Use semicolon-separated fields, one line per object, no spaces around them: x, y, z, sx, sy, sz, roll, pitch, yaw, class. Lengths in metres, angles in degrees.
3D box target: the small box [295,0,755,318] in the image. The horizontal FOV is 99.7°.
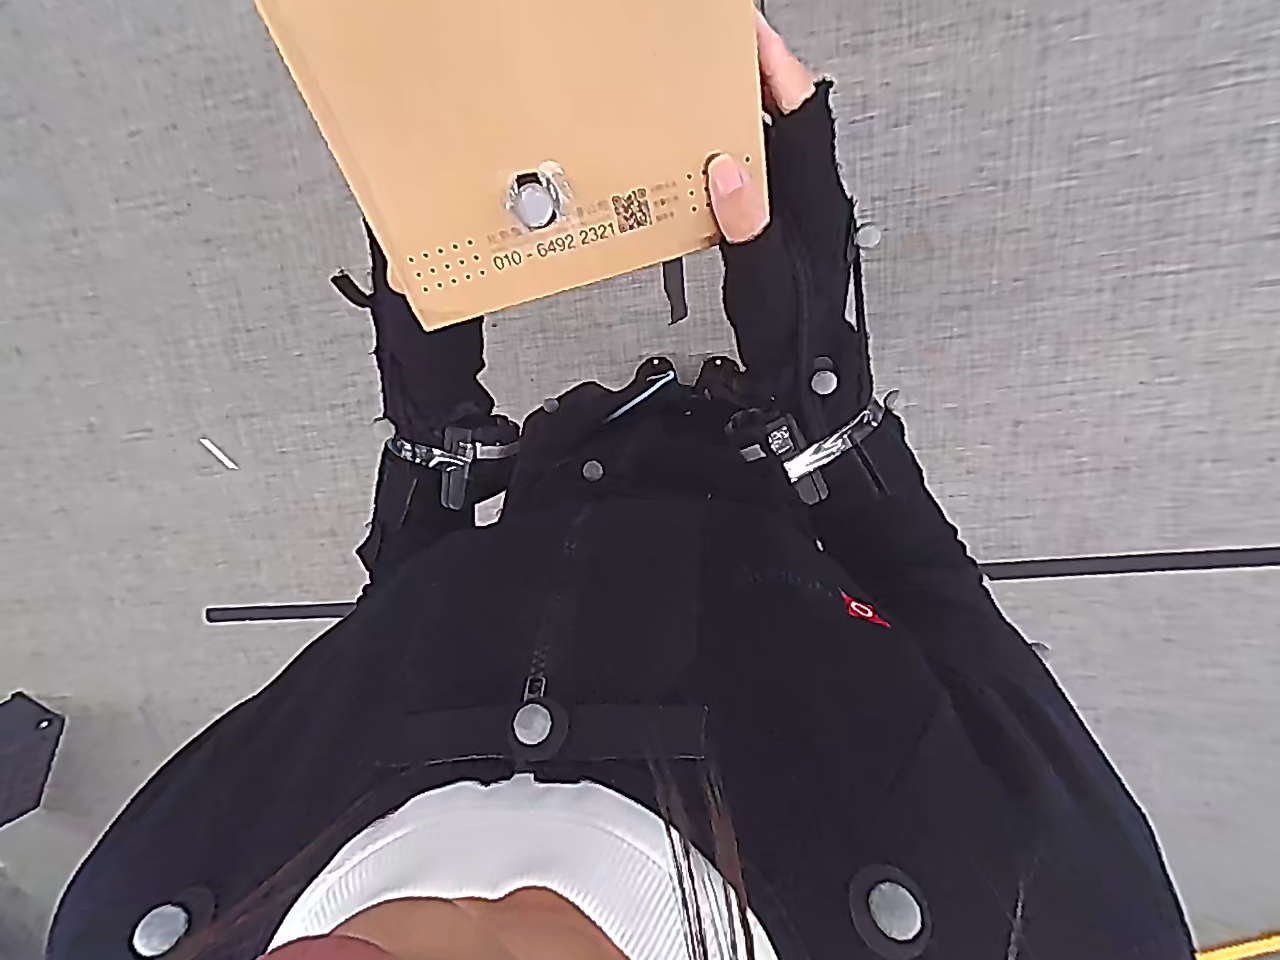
-0.051;-0.206;0.276;0.168;0.179;0.176;-17;129;0;small box
